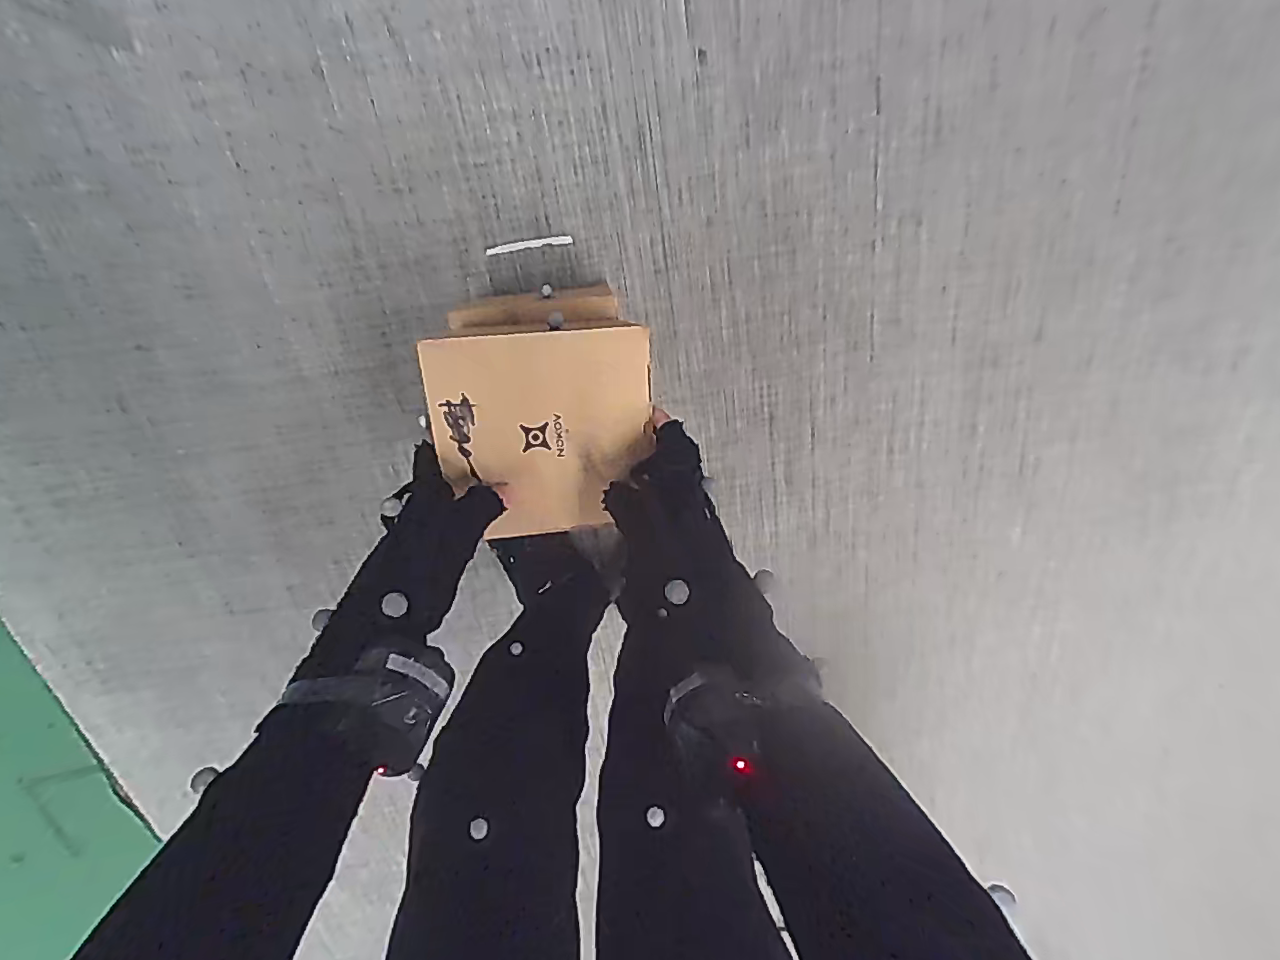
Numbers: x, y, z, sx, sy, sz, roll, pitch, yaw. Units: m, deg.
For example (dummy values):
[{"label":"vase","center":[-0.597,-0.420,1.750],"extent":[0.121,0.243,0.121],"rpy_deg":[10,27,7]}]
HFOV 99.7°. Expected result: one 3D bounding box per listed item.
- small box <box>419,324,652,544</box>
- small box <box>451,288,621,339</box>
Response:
[{"label":"small box","center":[-0.090,-0.056,0.514],"extent":[0.179,0.176,0.168],"rpy_deg":[-5,110,-7]},{"label":"small box","center":[-0.110,-0.135,0.665],"extent":[0.179,0.176,0.168],"rpy_deg":[-10,114,-2]}]
